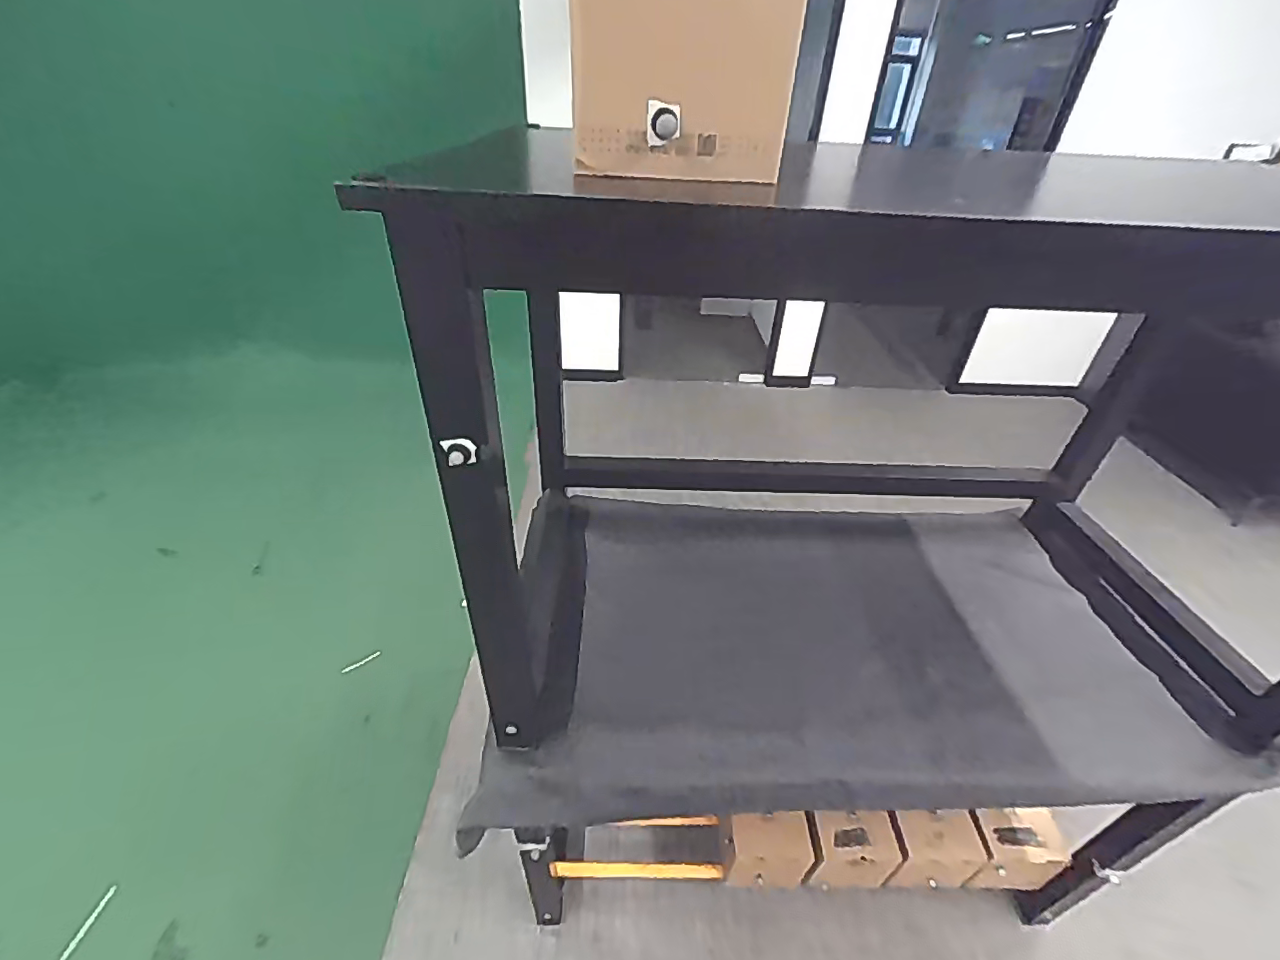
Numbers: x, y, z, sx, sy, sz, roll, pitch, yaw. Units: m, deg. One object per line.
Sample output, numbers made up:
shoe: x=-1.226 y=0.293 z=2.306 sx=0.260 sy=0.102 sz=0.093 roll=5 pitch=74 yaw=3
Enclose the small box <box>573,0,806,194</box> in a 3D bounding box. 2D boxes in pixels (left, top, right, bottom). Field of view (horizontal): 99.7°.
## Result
small box: x=0.028 y=-0.353 z=0.462 sx=0.168 sy=0.176 sz=0.179 roll=-1 pitch=36 yaw=-5
